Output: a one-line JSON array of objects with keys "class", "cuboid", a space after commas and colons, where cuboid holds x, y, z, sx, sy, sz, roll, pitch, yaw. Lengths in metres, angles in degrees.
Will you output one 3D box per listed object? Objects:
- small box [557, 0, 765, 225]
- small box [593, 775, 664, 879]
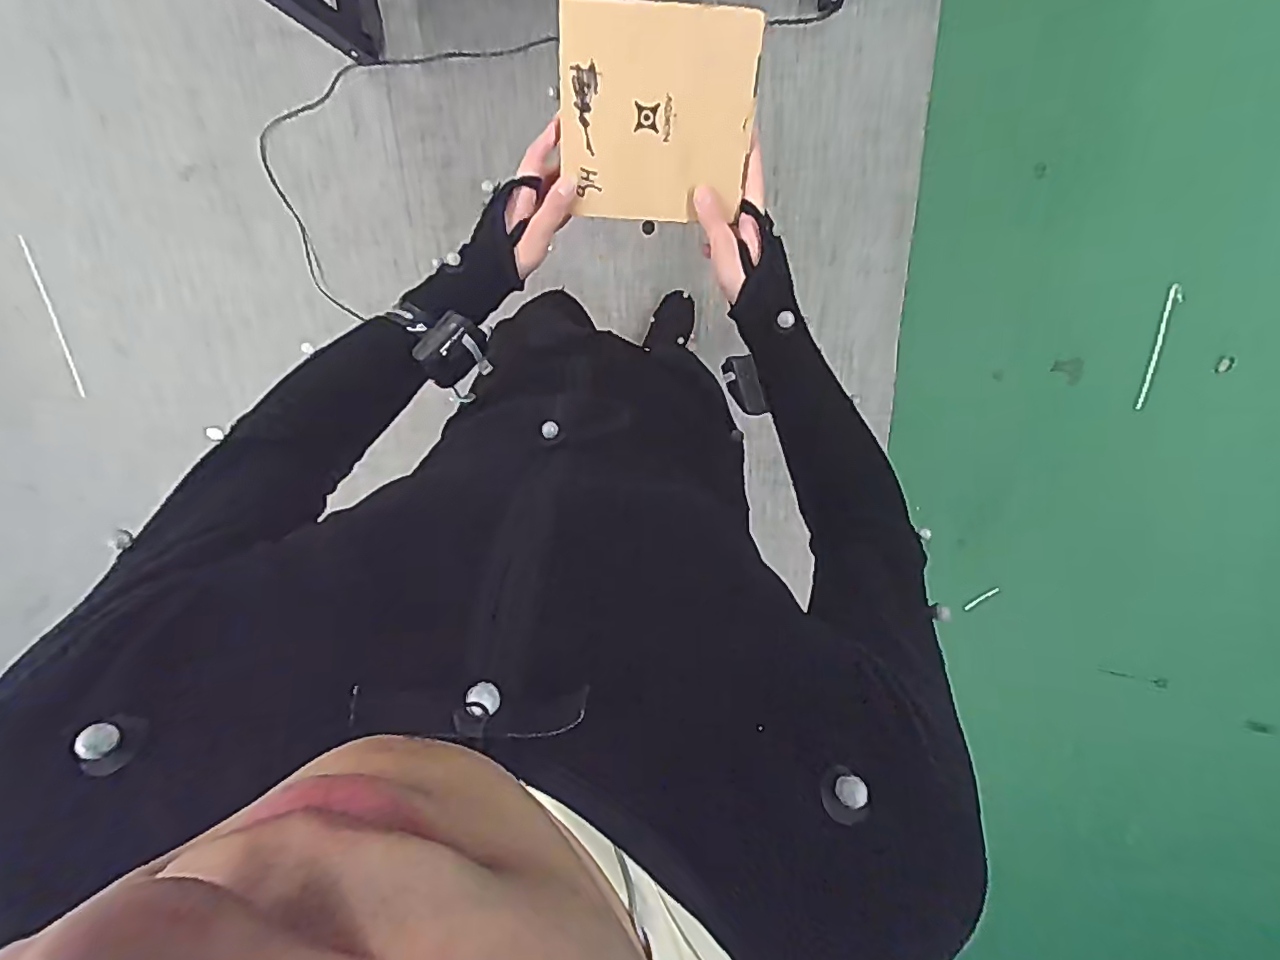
[{"class": "small box", "cuboid": [0.012, -0.363, 0.554, 0.179, 0.176, 0.168, 4, 117, -2]}, {"class": "small box", "cuboid": [-0.025, 0.930, 1.459, 0.179, 0.176, 0.168, 1, 109, 7]}]
